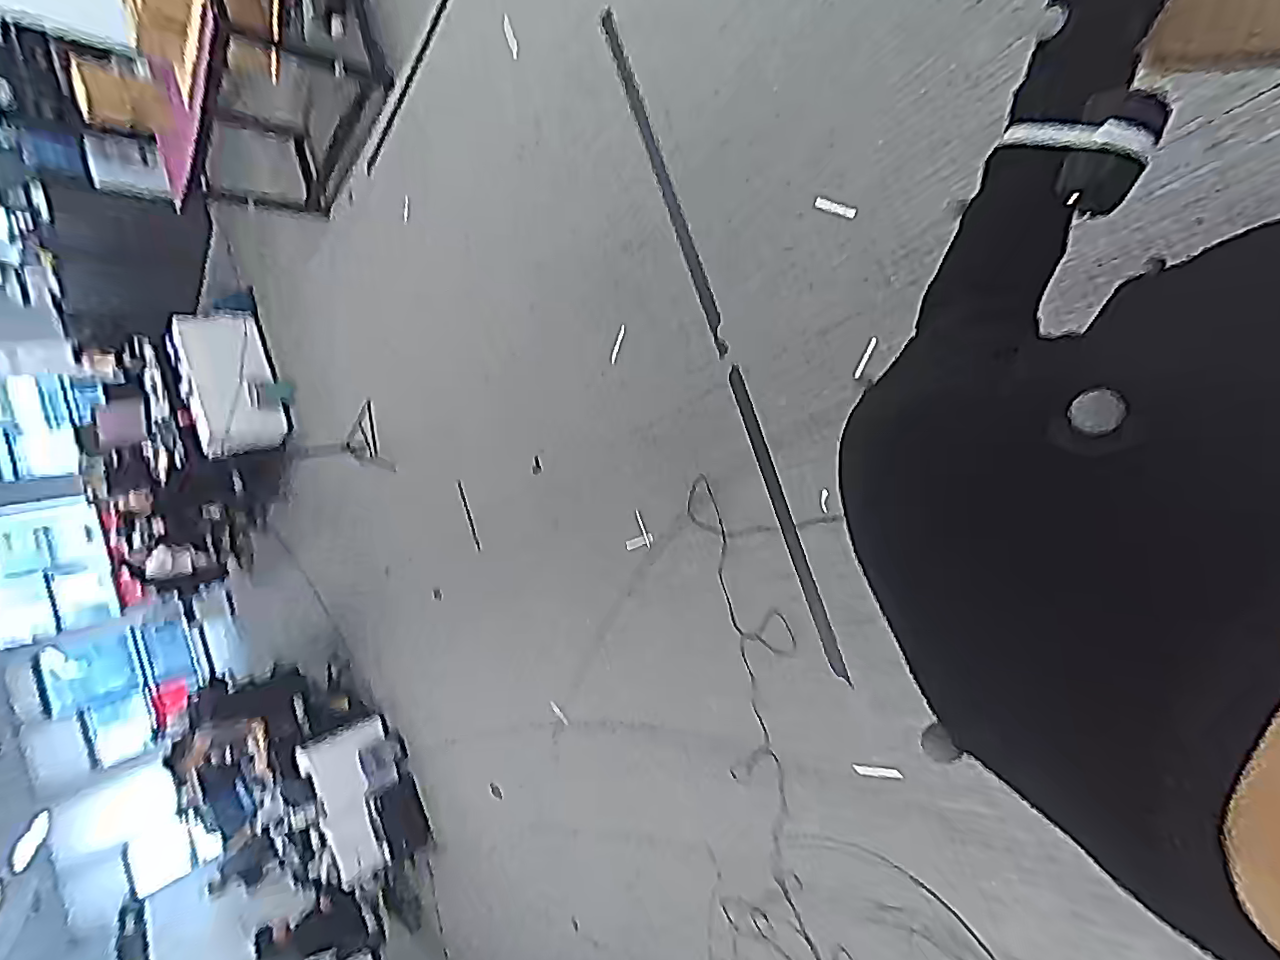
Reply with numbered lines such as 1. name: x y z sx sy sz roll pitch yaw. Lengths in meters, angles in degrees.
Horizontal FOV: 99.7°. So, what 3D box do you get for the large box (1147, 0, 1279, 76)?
1. large box: 0.588 -0.429 0.285 0.408 0.320 0.320 21 131 32
